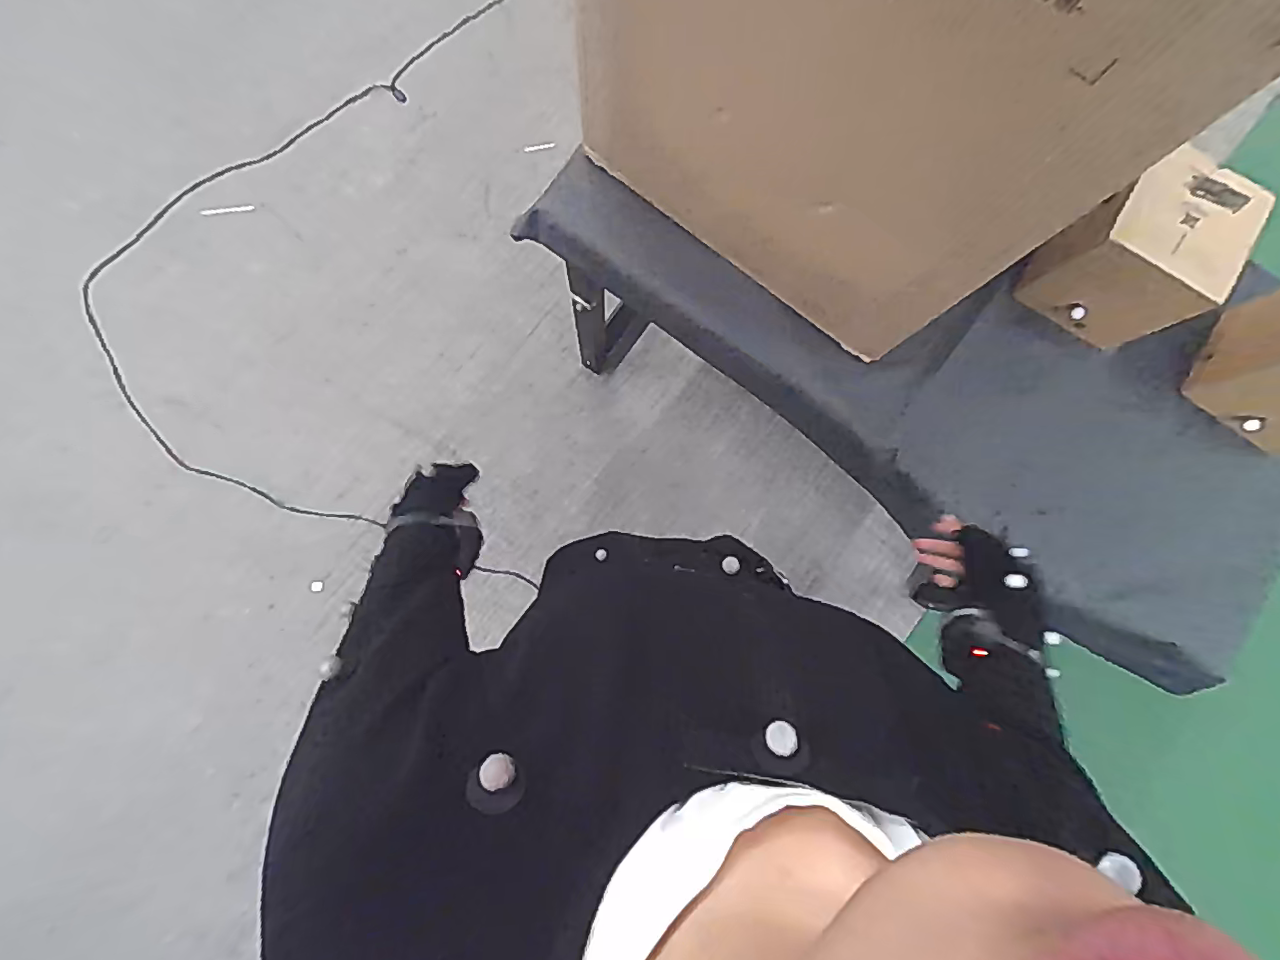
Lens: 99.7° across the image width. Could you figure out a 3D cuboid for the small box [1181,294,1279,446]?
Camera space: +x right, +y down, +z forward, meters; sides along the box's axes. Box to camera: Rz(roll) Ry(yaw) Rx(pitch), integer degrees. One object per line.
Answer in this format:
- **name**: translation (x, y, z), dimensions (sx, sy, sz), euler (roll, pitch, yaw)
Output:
- **small box**: translation (0.943, -0.161, 0.756), dimensions (0.179, 0.176, 0.168), euler (36, 82, 1)
